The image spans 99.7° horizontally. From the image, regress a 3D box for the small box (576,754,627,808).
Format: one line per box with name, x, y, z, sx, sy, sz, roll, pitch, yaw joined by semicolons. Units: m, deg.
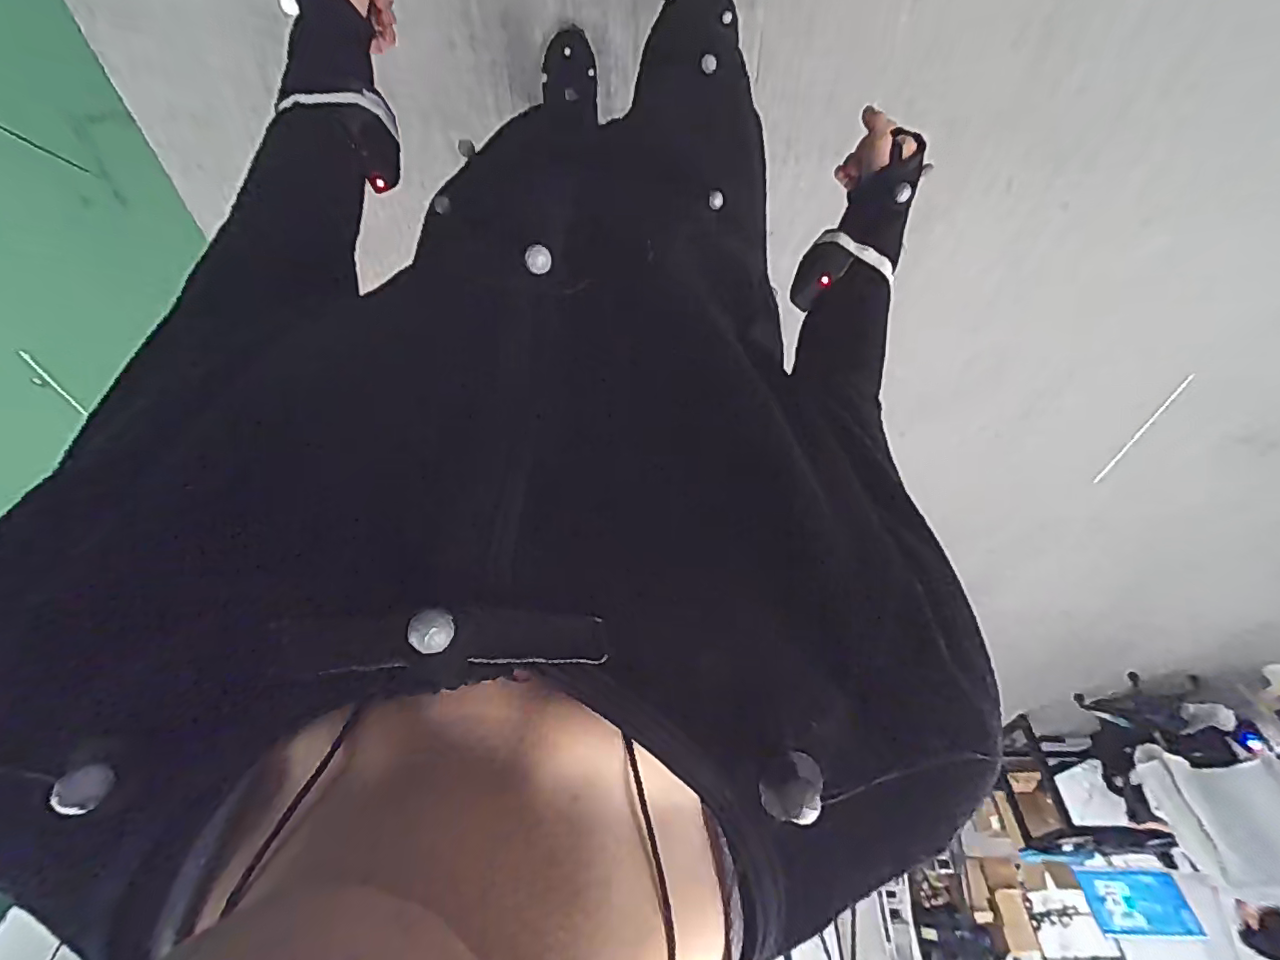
small box;-0.146;1.186;2.119;0.179;0.176;0.168;-1;139;3
